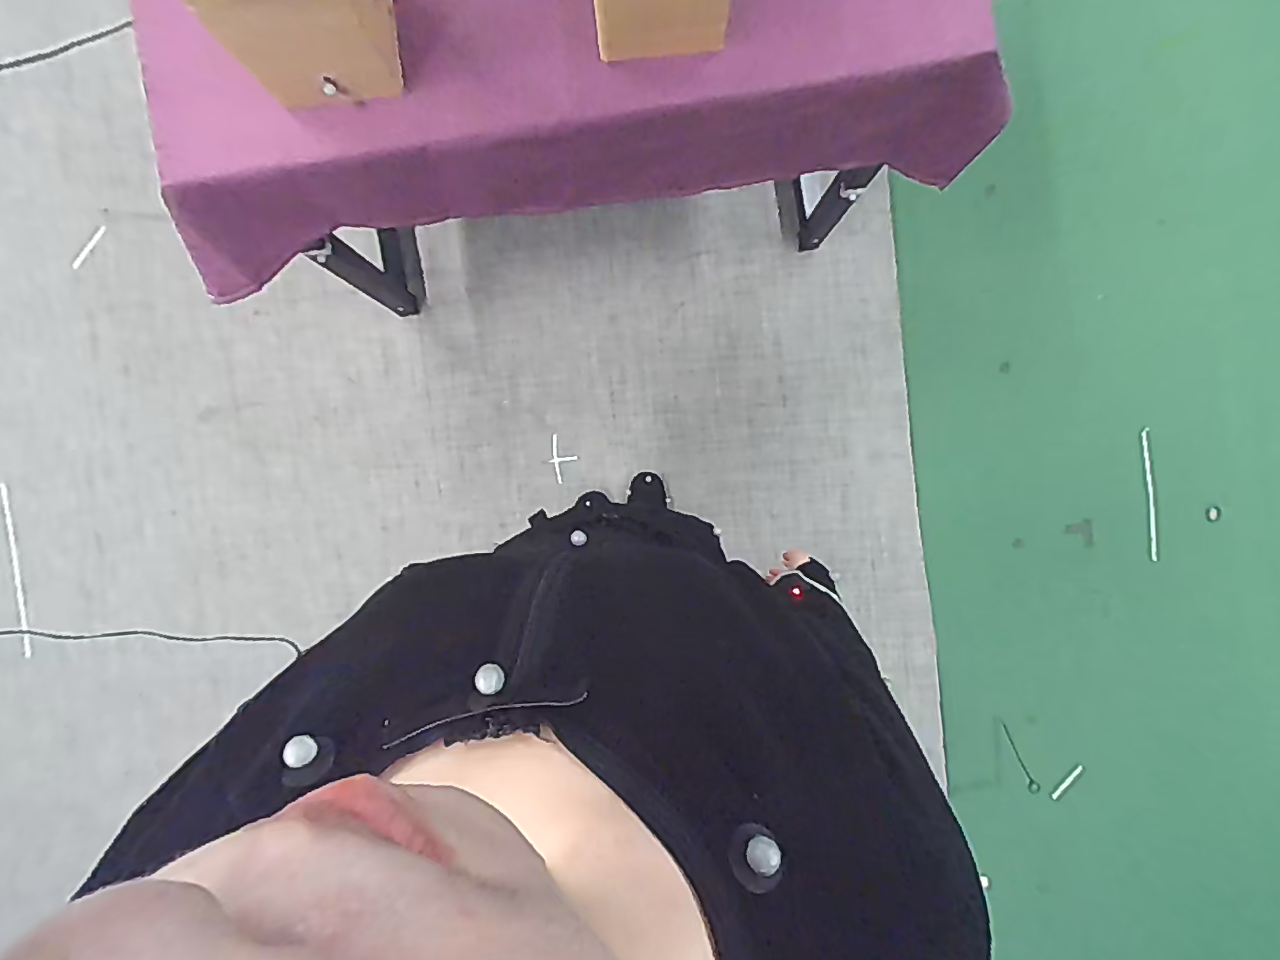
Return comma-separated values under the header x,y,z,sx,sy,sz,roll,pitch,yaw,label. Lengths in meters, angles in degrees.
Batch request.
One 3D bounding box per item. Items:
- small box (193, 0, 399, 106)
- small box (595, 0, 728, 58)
x,y,z,sx,sy,sz,roll,pitch,yaw,label
-0.426,-0.617,0.687,0.179,0.176,0.168,-7,90,-1,small box
0.022,-0.682,0.688,0.179,0.176,0.168,-6,91,0,small box
